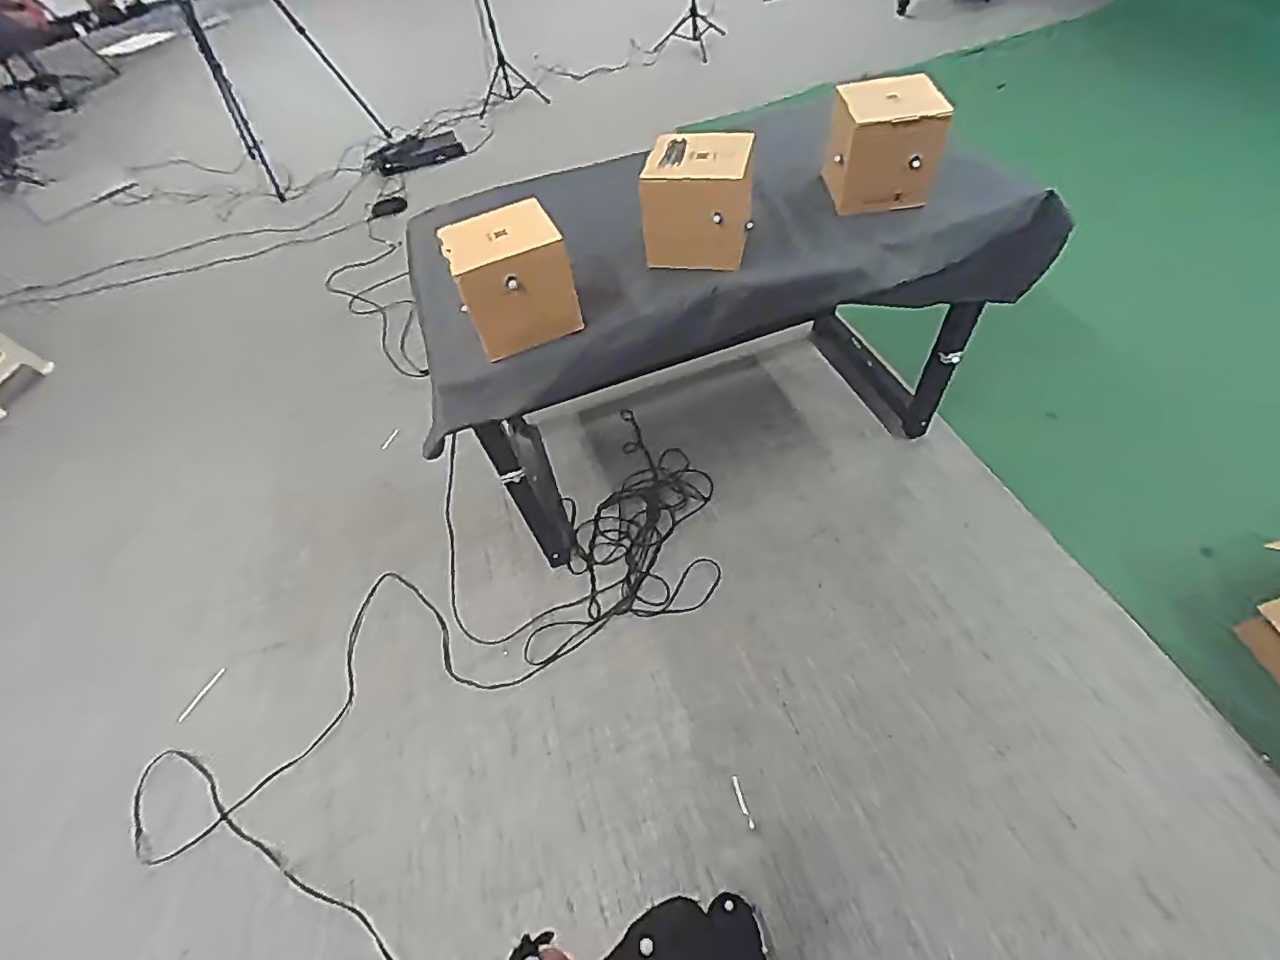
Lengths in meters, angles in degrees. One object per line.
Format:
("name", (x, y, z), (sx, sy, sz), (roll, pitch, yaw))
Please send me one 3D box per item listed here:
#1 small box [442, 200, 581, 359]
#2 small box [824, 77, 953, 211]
("small box", (-0.210, -0.339, 0.922), (0.179, 0.176, 0.168), (-23, 52, -7))
("small box", (0.464, -0.638, 1.041), (0.168, 0.176, 0.179), (-4, 53, 5))
